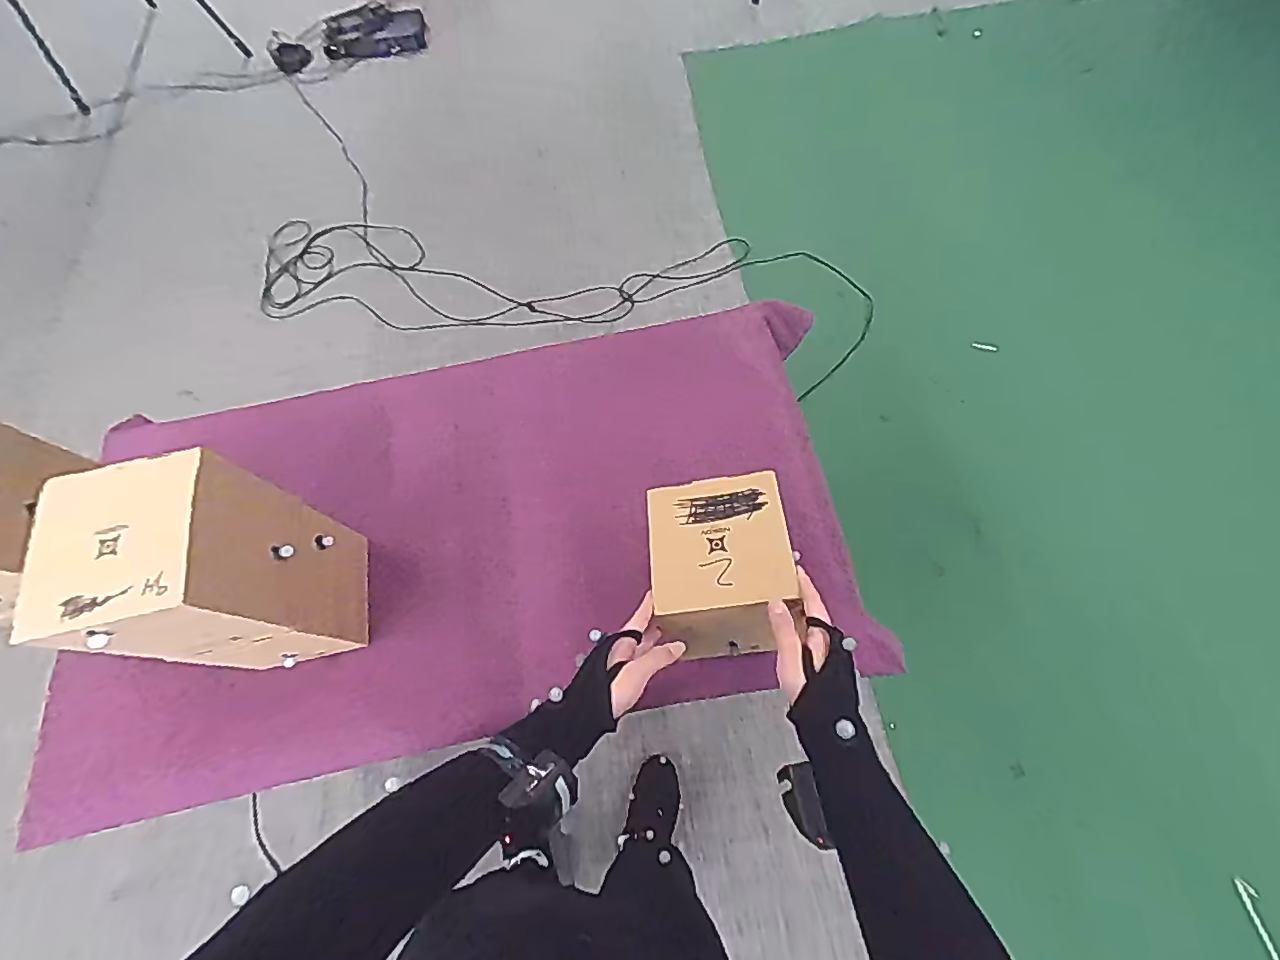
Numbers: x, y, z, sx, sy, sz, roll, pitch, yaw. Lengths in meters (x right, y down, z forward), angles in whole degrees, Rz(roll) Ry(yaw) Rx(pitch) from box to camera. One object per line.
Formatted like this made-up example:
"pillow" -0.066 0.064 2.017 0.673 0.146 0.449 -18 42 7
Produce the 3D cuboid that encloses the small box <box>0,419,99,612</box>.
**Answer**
"small box" -0.795 0.050 0.654 0.168 0.176 0.179 -14 68 -1

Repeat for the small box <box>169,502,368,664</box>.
"small box" -0.509 0.153 0.767 0.168 0.176 0.179 -12 68 0

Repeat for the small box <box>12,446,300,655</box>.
"small box" -0.521 0.088 0.616 0.168 0.176 0.179 -13 66 -1
